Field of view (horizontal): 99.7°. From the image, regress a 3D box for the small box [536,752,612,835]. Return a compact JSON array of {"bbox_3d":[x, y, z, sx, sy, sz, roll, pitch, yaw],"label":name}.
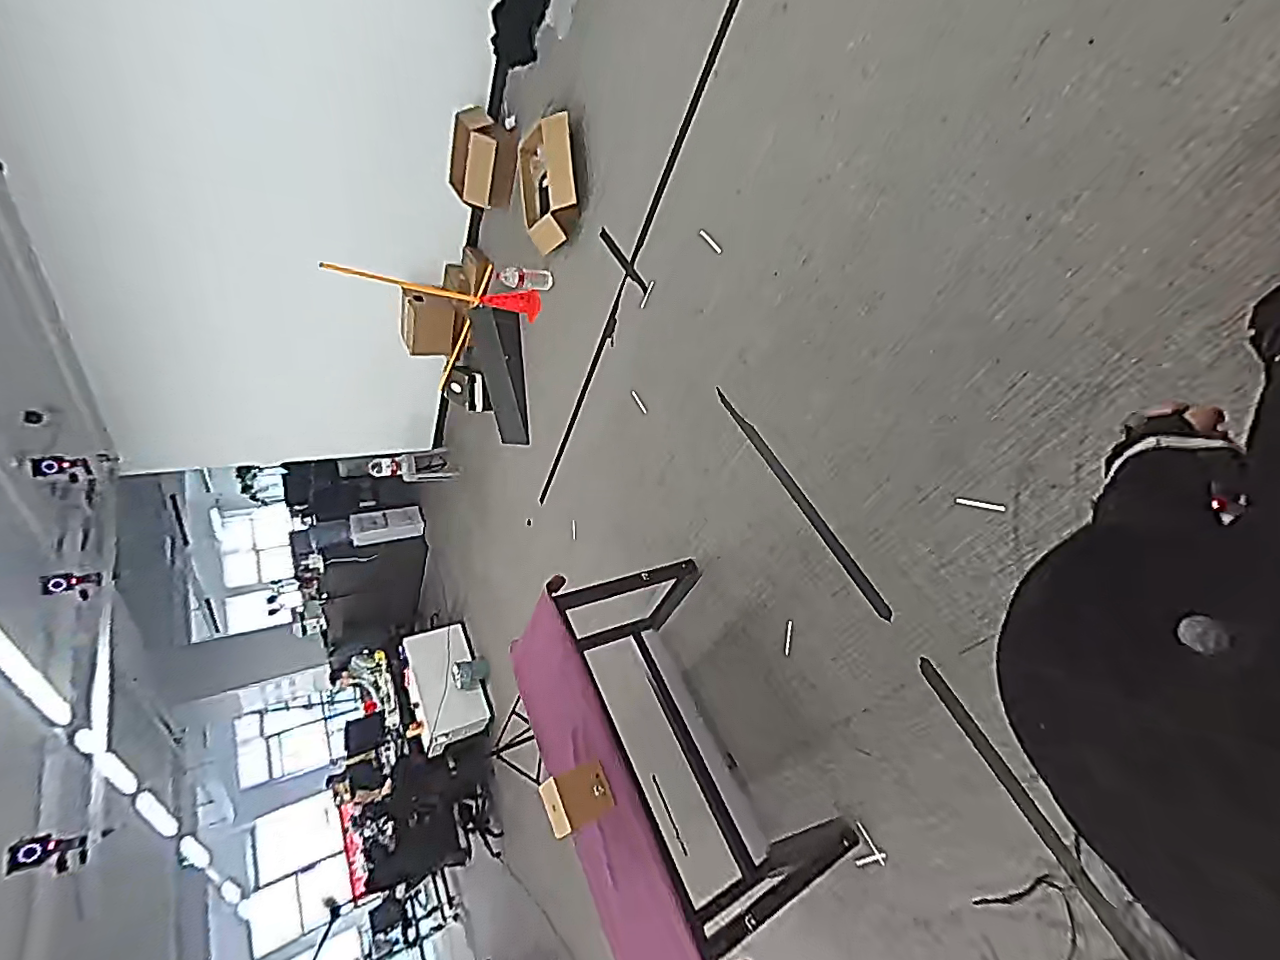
[{"bbox_3d":[-0.214,1.016,1.757,0.168,0.176,0.179,60,140,26],"label":"small box"}]
